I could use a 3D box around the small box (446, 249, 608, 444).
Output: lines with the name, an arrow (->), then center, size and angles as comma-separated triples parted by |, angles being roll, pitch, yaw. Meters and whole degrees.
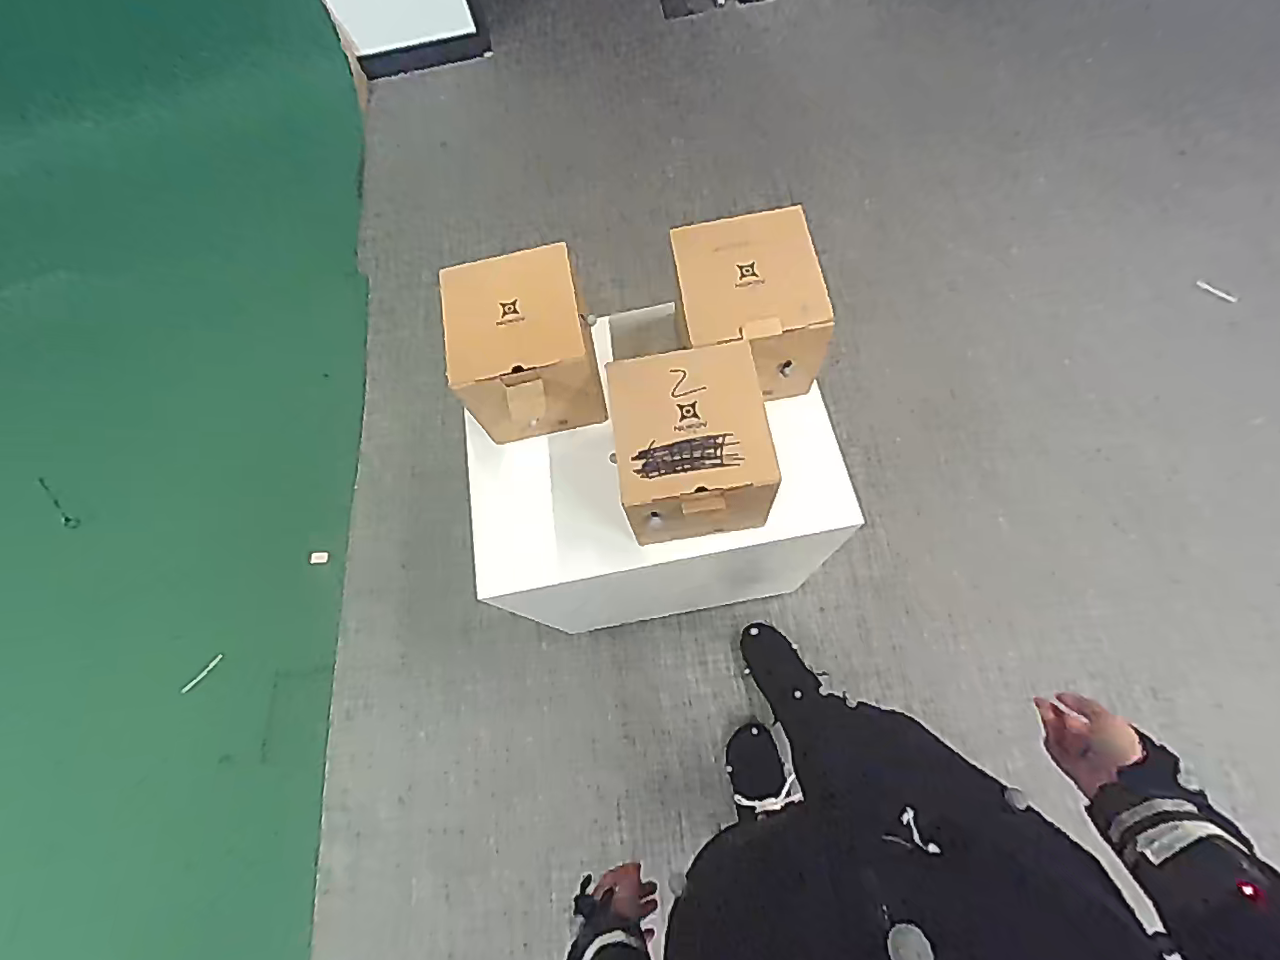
small box -> -0.145, -0.171, 0.727 | 0.168, 0.176, 0.179 | -12, 70, 1
